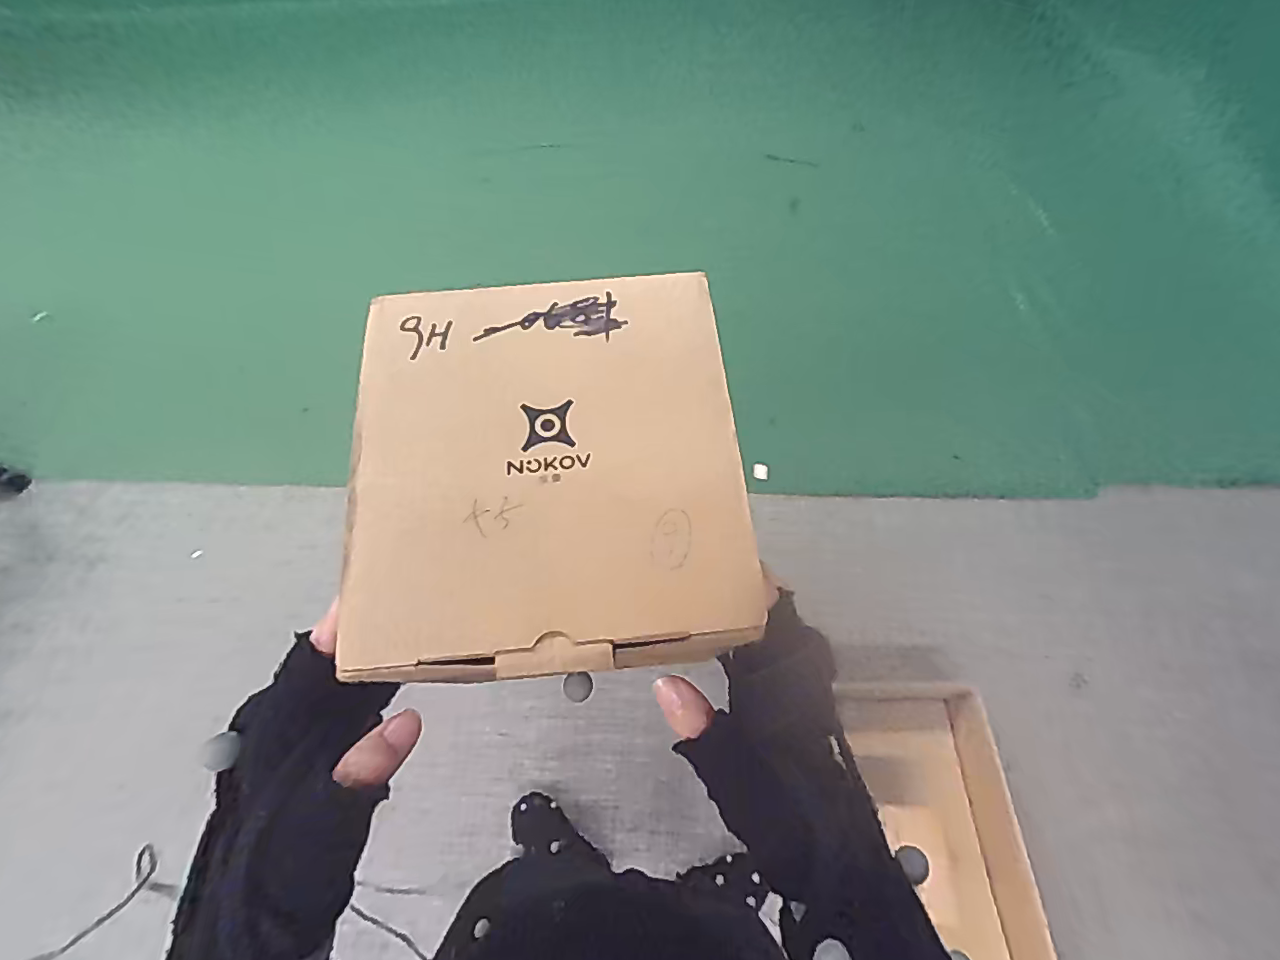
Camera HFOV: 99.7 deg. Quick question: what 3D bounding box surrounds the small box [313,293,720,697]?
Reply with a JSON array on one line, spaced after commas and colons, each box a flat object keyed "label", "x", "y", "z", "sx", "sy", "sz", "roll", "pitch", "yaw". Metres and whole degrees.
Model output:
[{"label": "small box", "x": -0.055, "y": 0.021, "z": 0.315, "sx": 0.168, "sy": 0.176, "sz": 0.179, "roll": -5, "pitch": 70, "yaw": -3}]
